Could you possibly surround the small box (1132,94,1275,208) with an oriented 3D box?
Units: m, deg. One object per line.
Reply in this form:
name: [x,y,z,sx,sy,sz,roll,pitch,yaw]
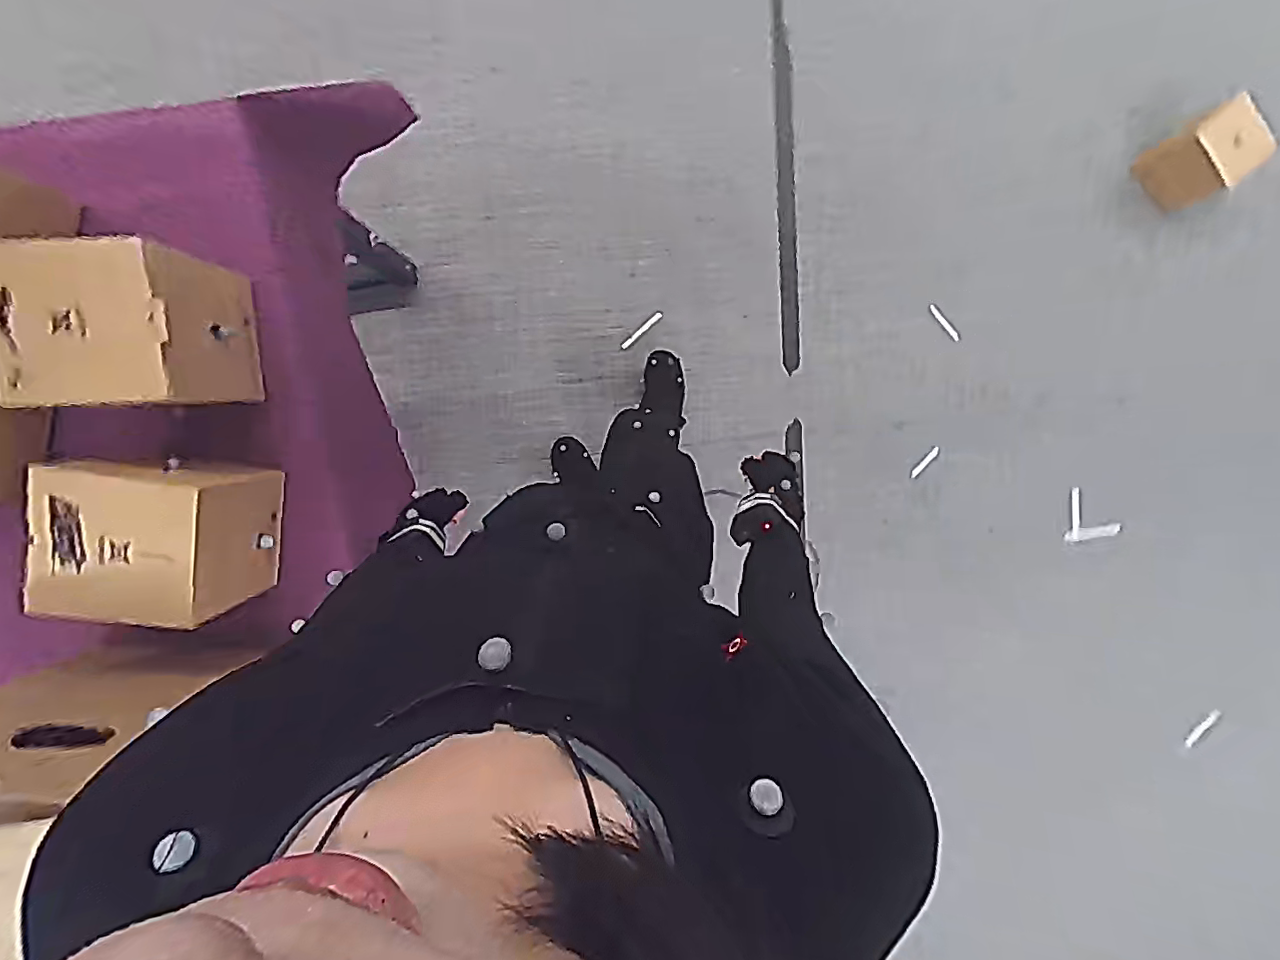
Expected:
small box: [1.492,-0.860,1.443,0.168,0.176,0.179,-42,97,0]
